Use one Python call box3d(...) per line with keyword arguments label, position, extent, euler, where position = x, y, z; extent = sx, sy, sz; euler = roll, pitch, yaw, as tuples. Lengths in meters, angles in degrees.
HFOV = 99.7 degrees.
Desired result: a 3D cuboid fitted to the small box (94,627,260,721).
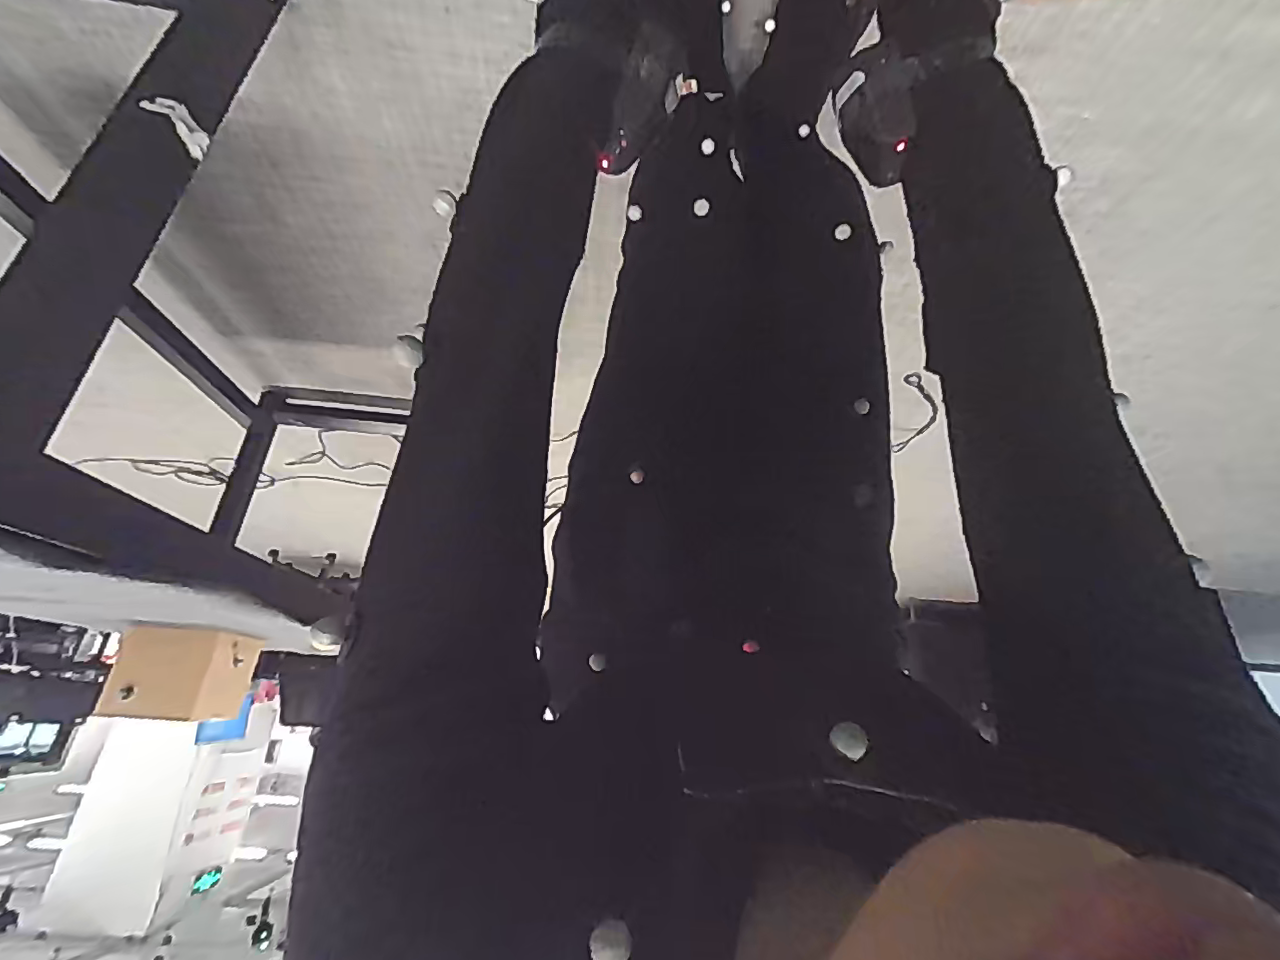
box3d(label="small box", position=(-0.935, 0.399, 1.113), extent=(0.179, 0.176, 0.168), euler=(5, 157, -4))
